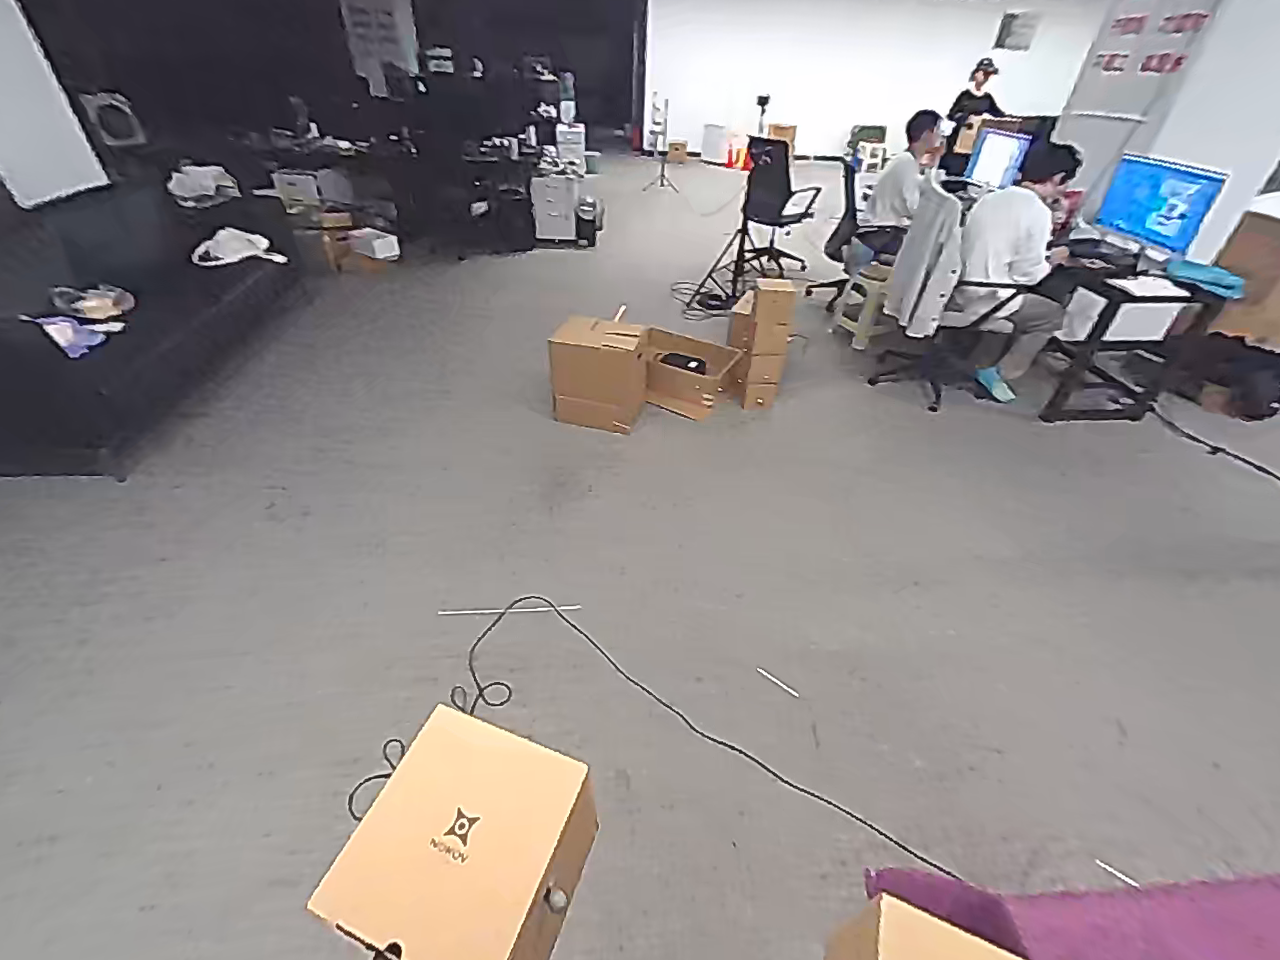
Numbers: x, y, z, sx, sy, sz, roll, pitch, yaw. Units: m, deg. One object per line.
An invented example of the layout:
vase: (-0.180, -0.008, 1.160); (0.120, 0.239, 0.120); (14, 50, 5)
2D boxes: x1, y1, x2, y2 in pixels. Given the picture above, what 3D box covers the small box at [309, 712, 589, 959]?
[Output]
small box: (-0.156, 0.363, 0.512); (0.168, 0.176, 0.179); (14, 46, 16)
